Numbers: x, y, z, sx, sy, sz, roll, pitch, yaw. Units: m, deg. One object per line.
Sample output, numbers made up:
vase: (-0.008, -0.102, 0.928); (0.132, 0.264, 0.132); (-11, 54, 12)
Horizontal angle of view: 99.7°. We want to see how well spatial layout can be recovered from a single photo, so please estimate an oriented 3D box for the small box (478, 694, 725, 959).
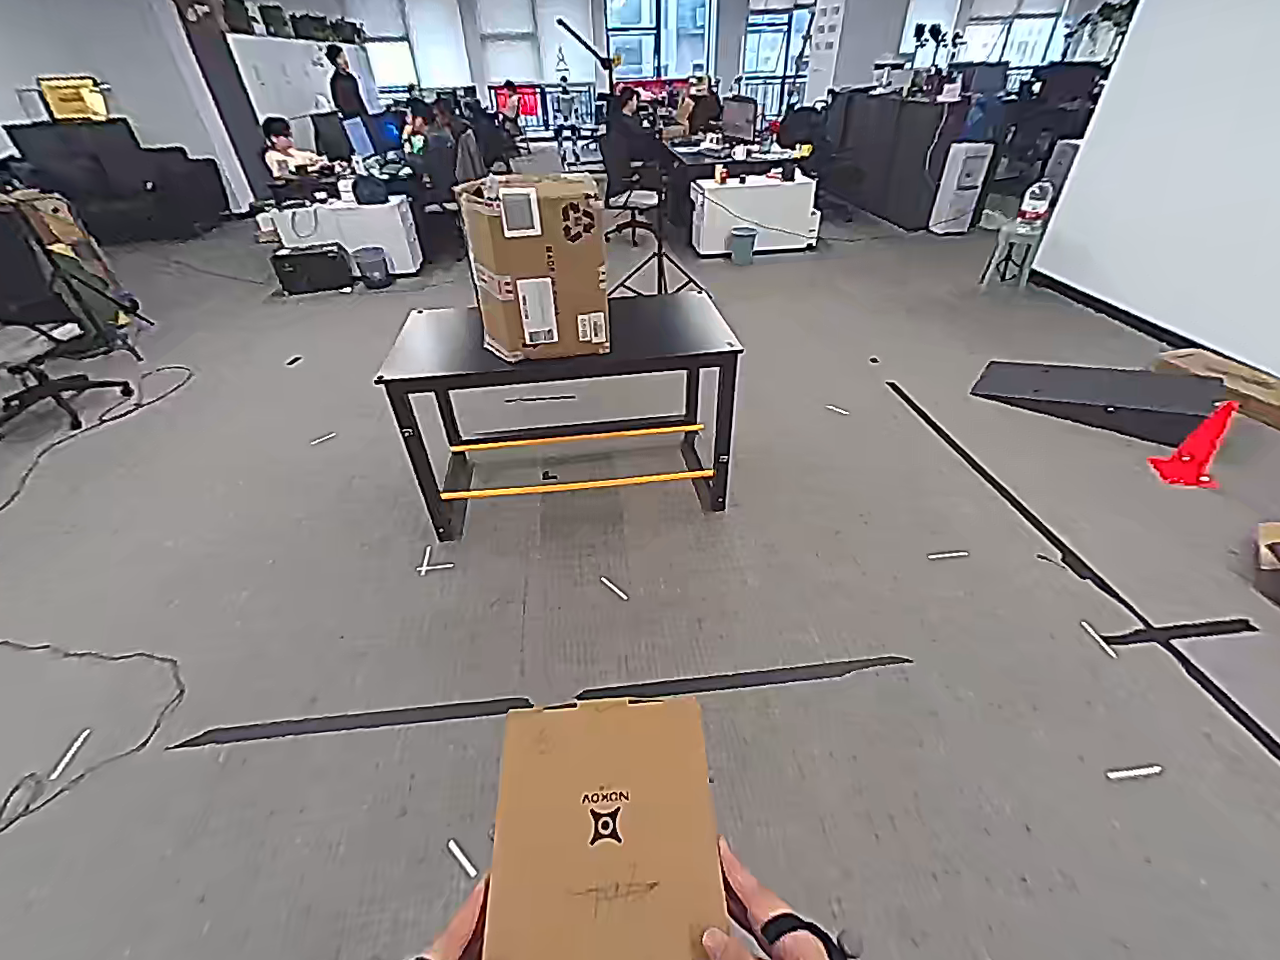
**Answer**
small box: (-0.029, 0.308, 0.468); (0.168, 0.176, 0.179); (-3, 47, -2)
